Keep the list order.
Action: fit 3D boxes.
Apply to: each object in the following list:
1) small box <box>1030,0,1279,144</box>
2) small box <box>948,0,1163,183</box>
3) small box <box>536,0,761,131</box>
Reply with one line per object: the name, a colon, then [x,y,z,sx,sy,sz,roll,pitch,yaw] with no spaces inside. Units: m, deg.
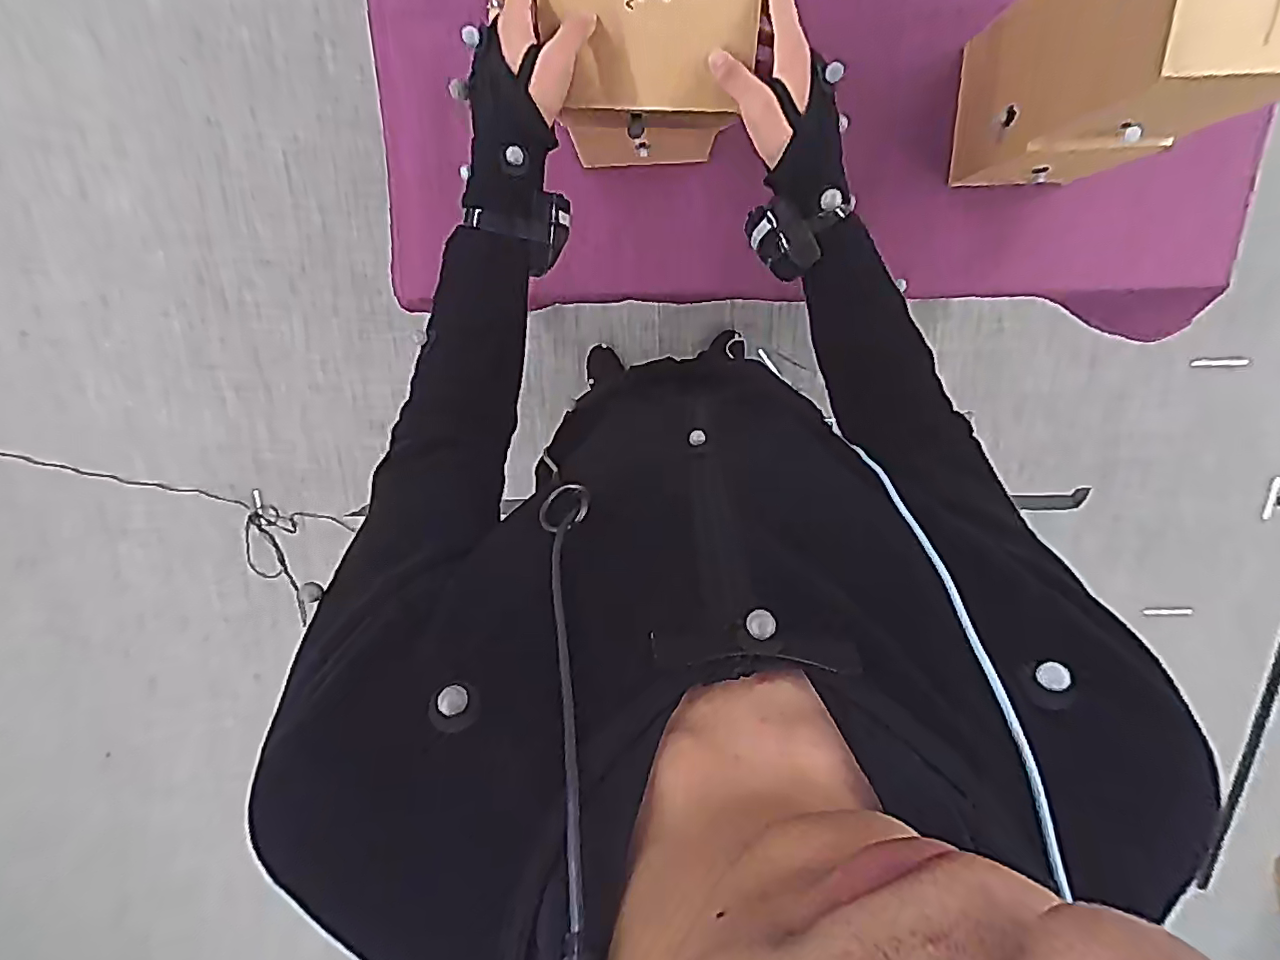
small box: [0.515,-0.445,0.513,0.168,0.176,0.179,0,107,1]
small box: [0.515,-0.482,0.673,0.168,0.176,0.179,-1,106,0]
small box: [0.007,-0.415,0.479,0.179,0.176,0.168,1,119,0]
